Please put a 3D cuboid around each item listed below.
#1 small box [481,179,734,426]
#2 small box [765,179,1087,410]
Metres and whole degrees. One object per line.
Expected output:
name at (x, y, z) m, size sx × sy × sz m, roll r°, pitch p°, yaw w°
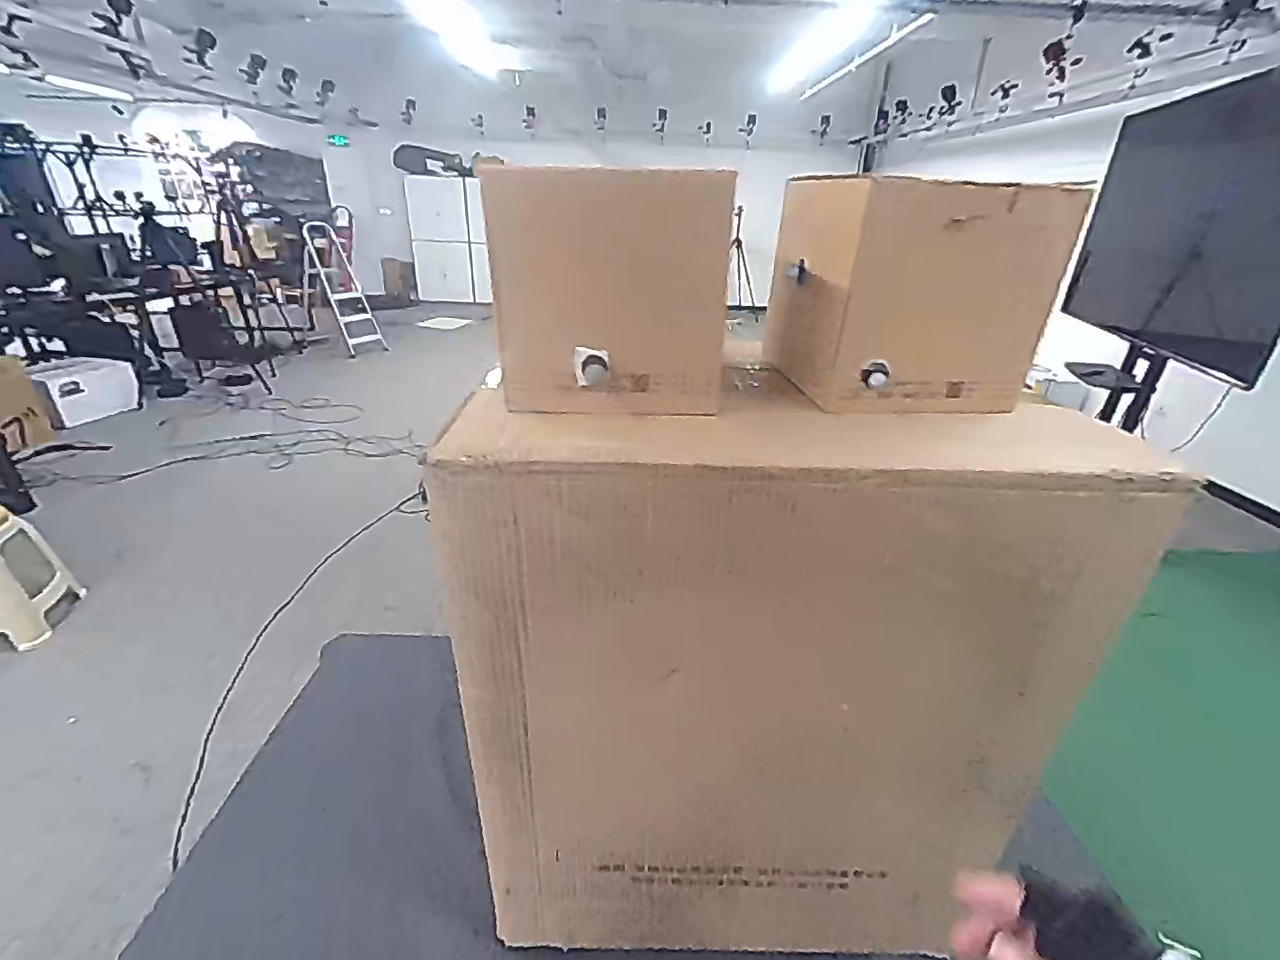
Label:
small box at (-0.021, -0.154, 0.454) m, size 0.168 × 0.176 × 0.179 m, roll -2°, pitch 30°, yaw -1°
small box at (0.219, -0.165, 0.473) m, size 0.168 × 0.176 × 0.179 m, roll -2°, pitch 27°, yaw -5°
